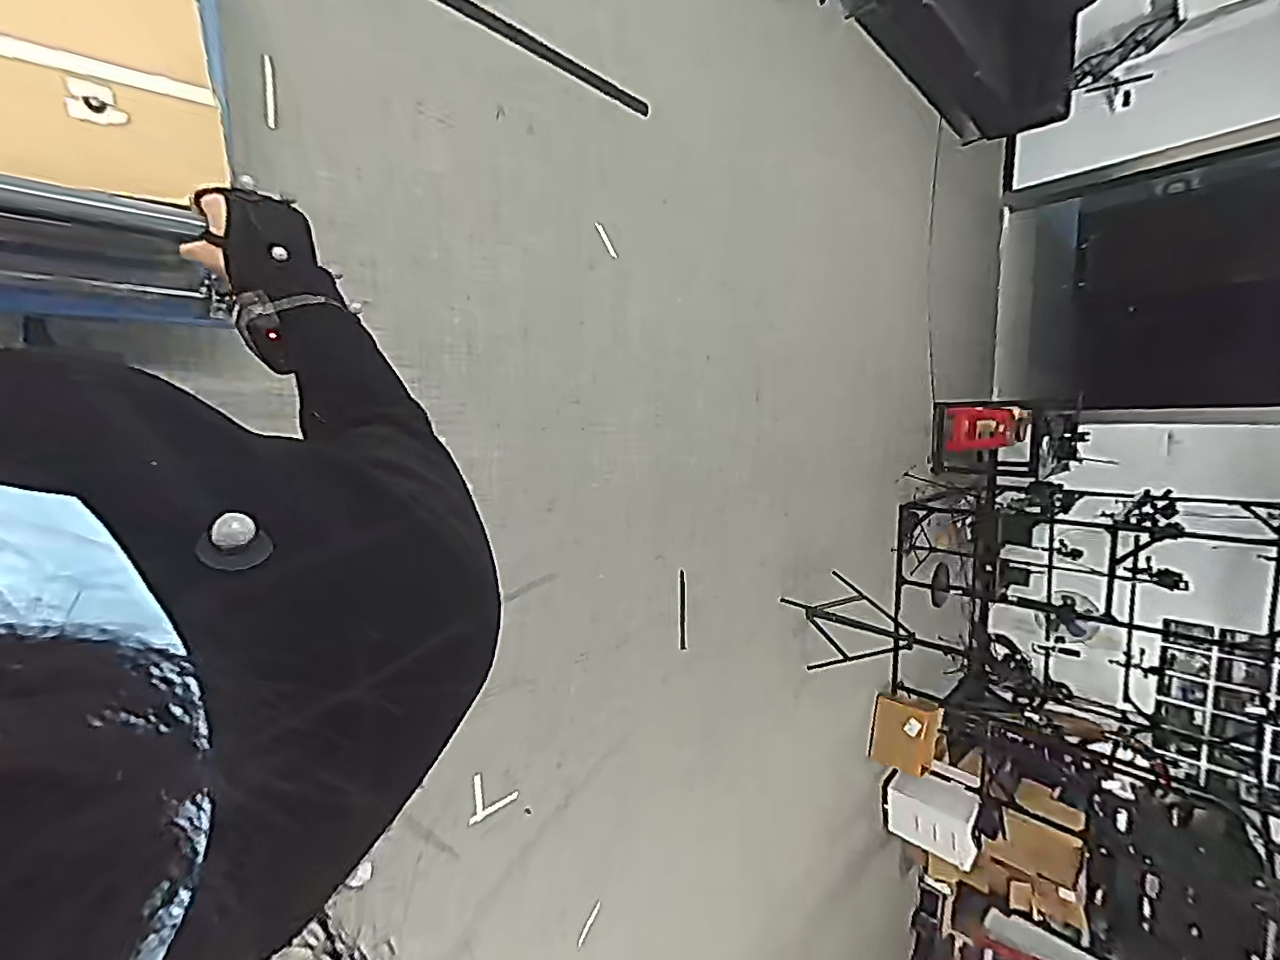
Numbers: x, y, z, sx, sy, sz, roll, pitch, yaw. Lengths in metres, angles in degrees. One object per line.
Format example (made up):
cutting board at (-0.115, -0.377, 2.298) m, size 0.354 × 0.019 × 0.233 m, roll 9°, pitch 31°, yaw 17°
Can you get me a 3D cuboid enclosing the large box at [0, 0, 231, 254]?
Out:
large box at (-0.885, -0.535, 0.769) m, size 0.408 × 0.320 × 0.320 m, roll -14°, pitch 104°, yaw -45°
